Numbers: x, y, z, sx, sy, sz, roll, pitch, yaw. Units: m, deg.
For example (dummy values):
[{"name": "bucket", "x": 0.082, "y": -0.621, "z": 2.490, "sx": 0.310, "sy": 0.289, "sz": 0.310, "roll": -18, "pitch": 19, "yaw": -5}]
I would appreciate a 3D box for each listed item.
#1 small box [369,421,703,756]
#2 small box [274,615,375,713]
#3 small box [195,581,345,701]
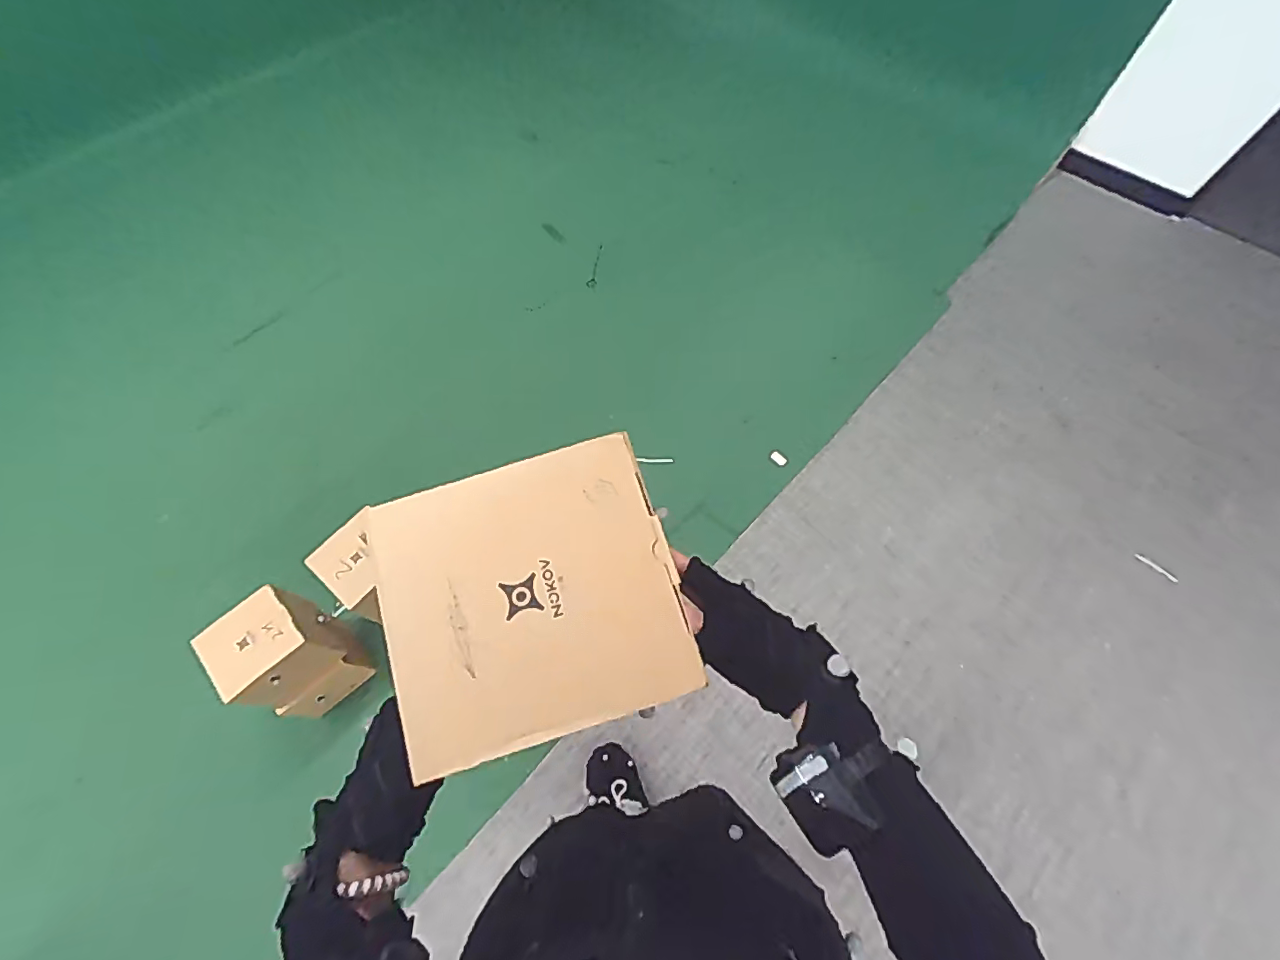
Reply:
[{"name": "small box", "x": -0.066, "y": 0.078, "z": 0.405, "sx": 0.179, "sy": 0.176, "sz": 0.168, "roll": -16, "pitch": 75, "yaw": -3}, {"name": "small box", "x": -0.781, "y": 0.437, "z": 1.305, "sx": 0.168, "sy": 0.176, "sz": 0.179, "roll": -39, "pitch": 69, "yaw": -16}, {"name": "small box", "x": -0.785, "y": 0.352, "z": 1.162, "sx": 0.179, "sy": 0.176, "sz": 0.168, "roll": -40, "pitch": 70, "yaw": -16}]
